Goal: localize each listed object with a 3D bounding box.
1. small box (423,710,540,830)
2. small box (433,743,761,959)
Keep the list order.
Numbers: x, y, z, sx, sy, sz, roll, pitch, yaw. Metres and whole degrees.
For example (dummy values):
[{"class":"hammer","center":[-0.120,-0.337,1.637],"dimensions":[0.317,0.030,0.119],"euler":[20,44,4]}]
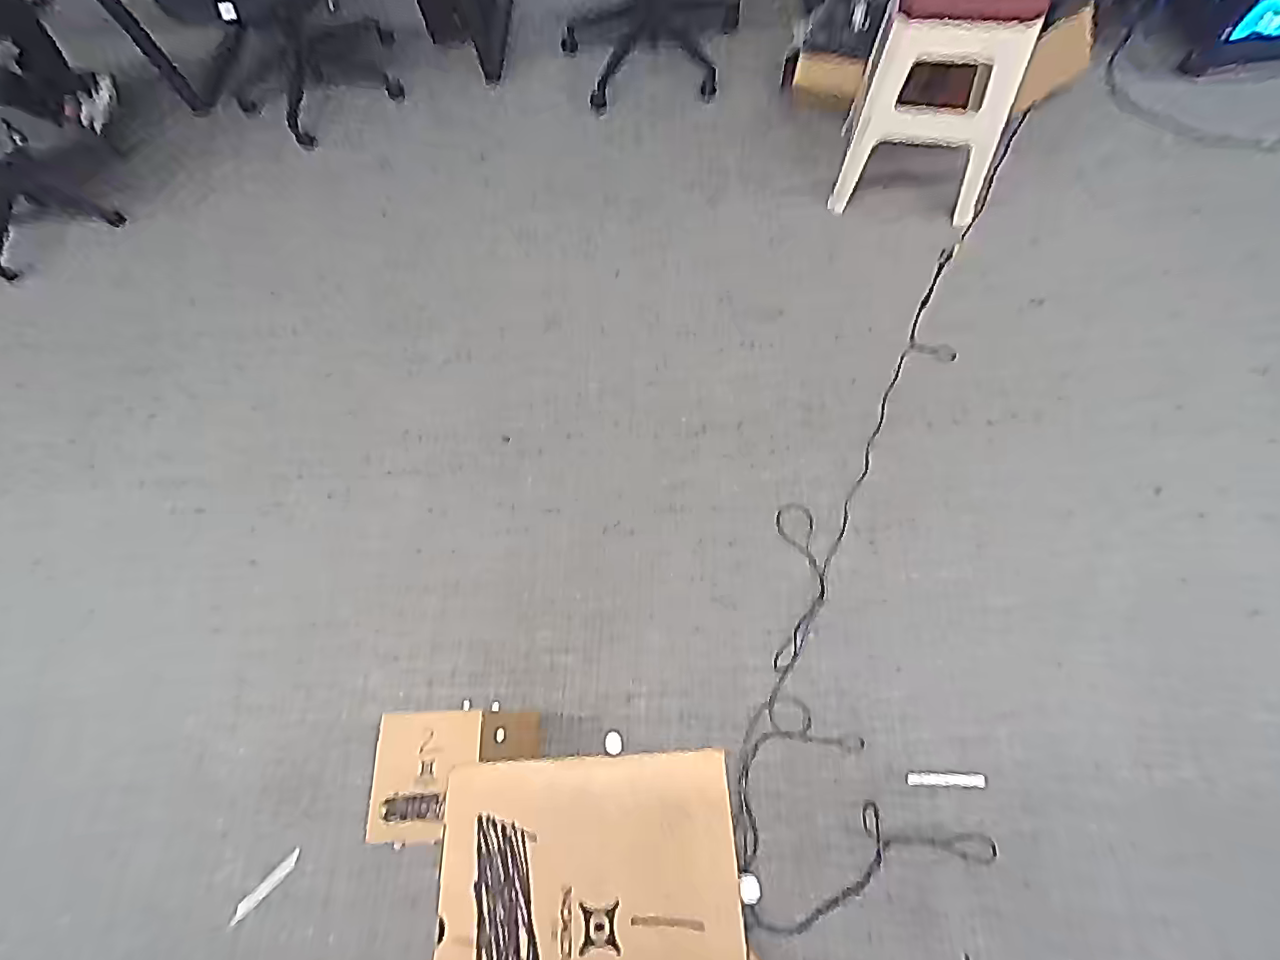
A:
[{"class":"small box","center":[-0.291,0.540,1.025],"dimensions":[0.168,0.176,0.179],"euler":[-9,67,3]},{"class":"small box","center":[-0.018,0.272,0.358],"dimensions":[0.179,0.176,0.168],"euler":[-5,63,3]}]
